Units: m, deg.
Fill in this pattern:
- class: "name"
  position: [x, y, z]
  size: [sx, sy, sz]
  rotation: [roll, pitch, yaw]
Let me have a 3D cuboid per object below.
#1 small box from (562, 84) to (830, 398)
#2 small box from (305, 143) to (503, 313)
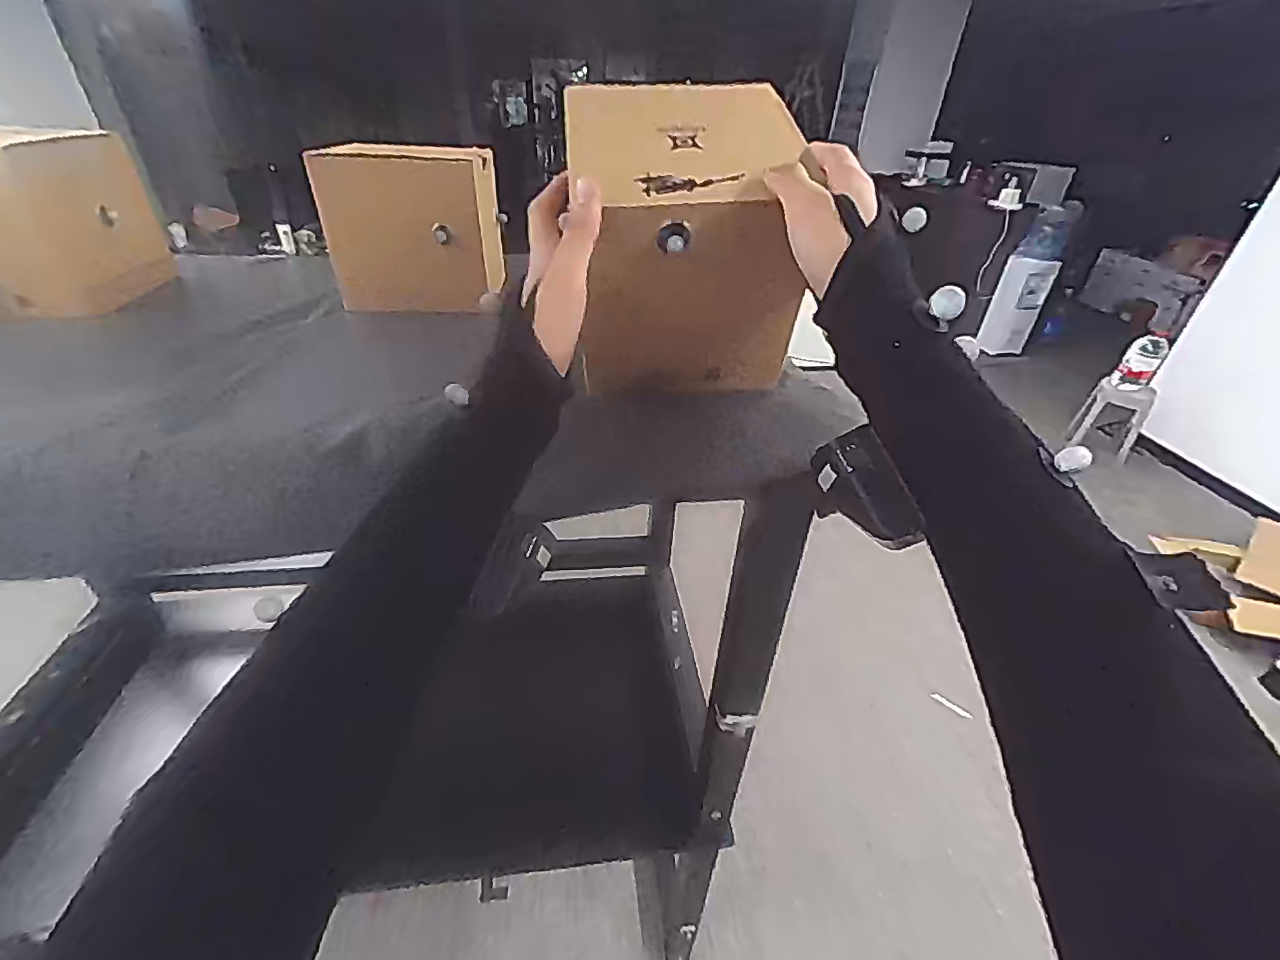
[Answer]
- class: "small box"
  position: [0.028, -0.188, 0.437]
  size: [0.168, 0.176, 0.179]
  rotation: [-4, 55, -2]
- class: "small box"
  position: [-0.274, -0.315, 0.680]
  size: [0.179, 0.176, 0.168]
  rotation: [-1, 34, -6]
